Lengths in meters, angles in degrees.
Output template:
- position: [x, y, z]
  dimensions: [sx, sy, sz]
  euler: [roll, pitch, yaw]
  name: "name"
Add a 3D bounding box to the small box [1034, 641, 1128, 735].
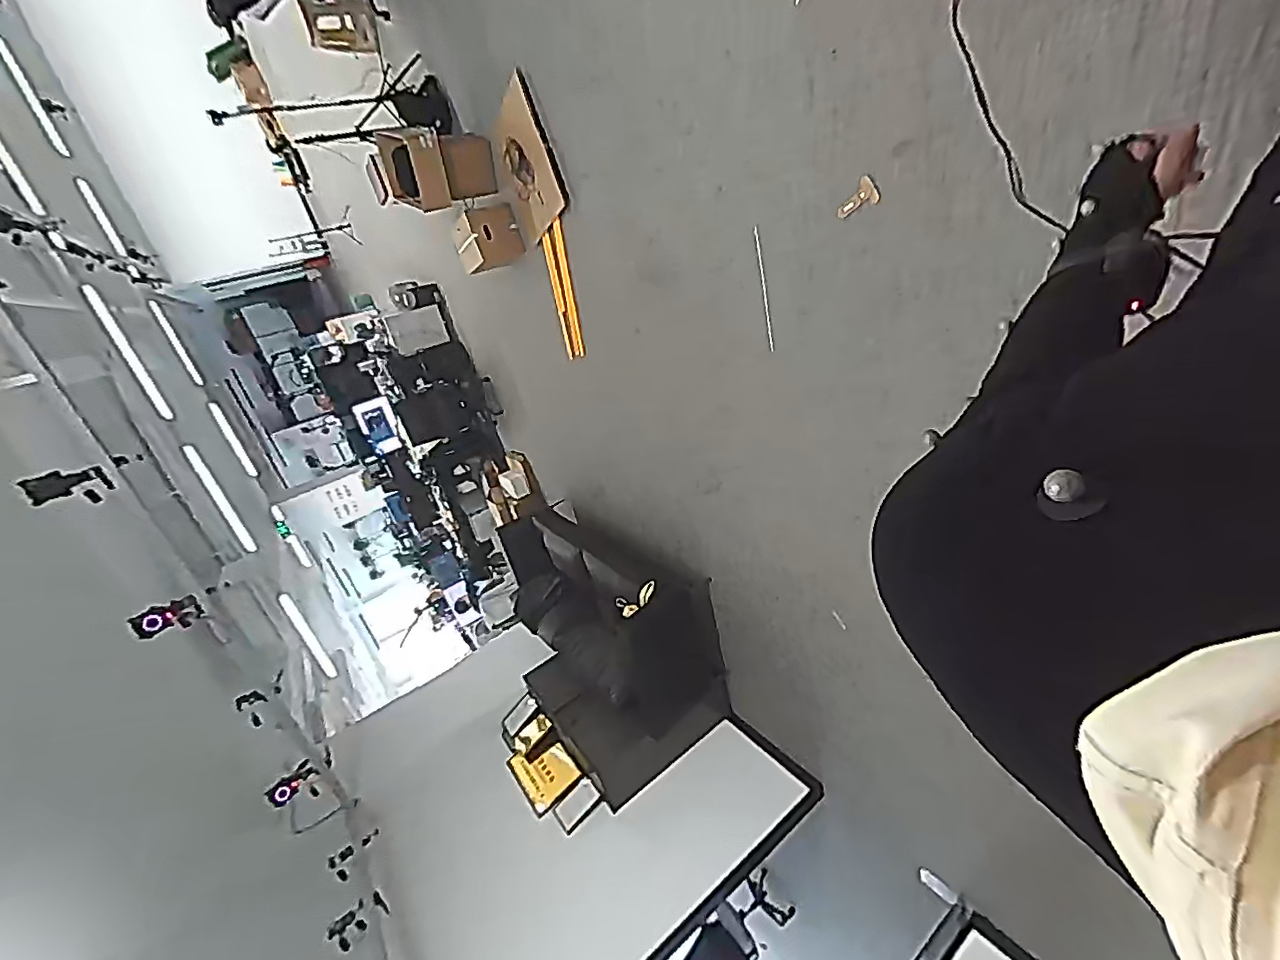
- position: [1.339, 0.622, 1.642]
  dimensions: [0.179, 0.176, 0.168]
  euler: [22, 132, 52]
  name: "small box"
